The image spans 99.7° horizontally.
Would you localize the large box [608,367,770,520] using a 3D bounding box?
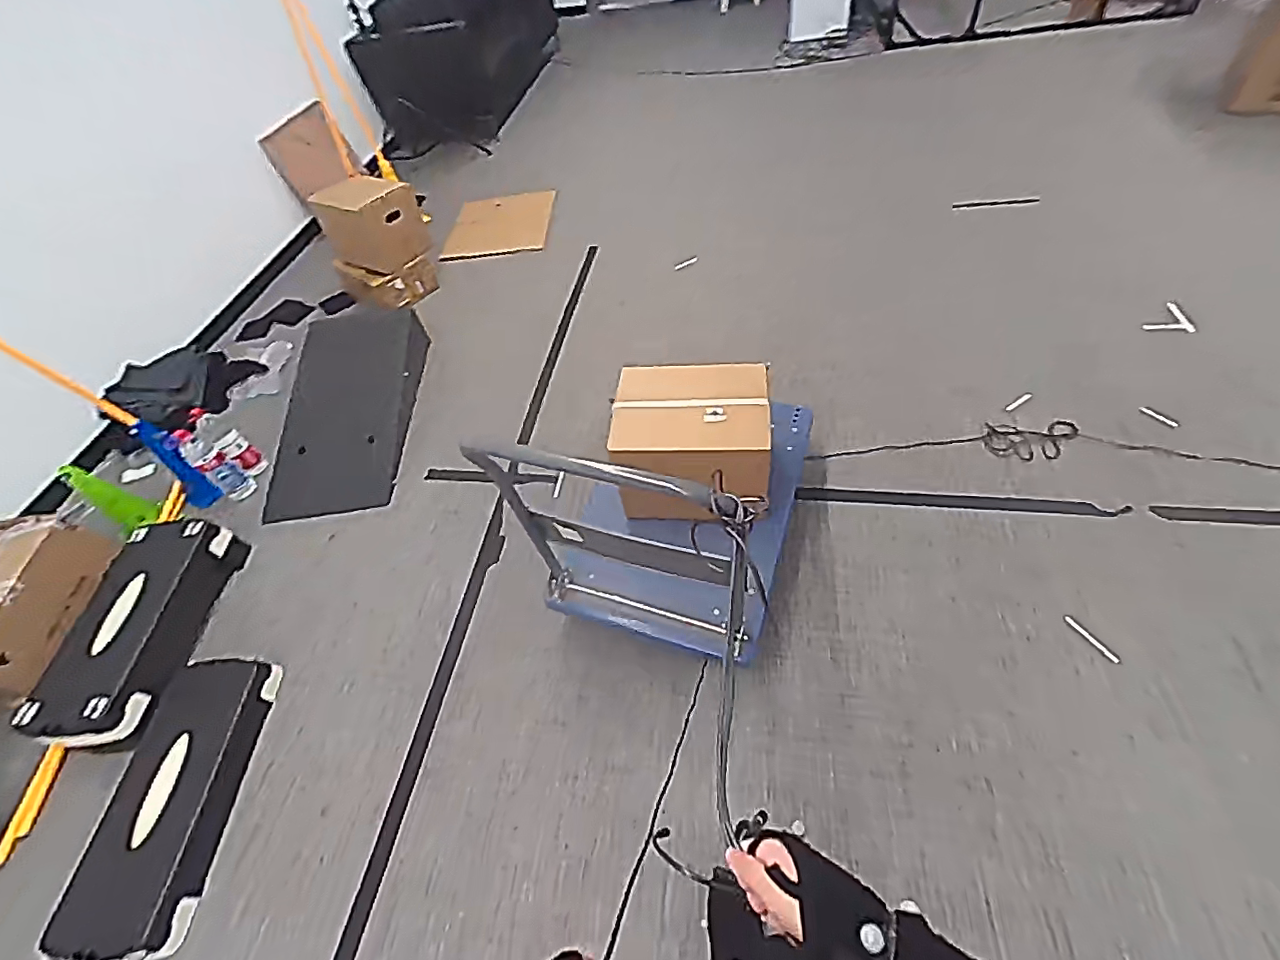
[{"bbox_3d":[0.145,-0.094,1.520,0.408,0.320,0.320,1,53,9],"label":"large box"}]
